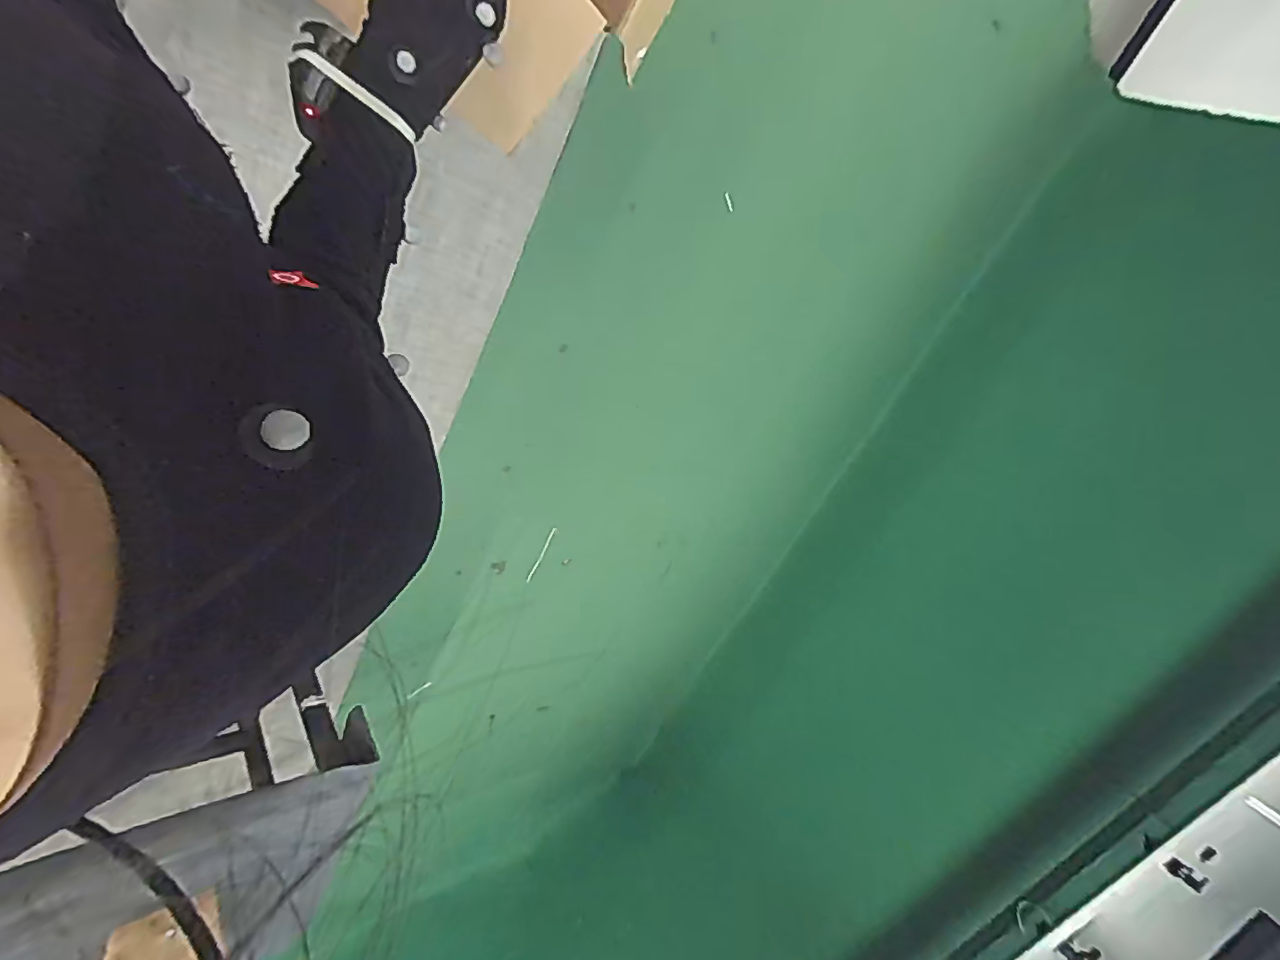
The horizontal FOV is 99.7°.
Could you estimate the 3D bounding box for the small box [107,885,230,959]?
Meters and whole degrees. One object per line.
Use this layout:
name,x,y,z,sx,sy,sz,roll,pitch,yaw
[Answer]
small box,-0.965,0.986,1.103,0.168,0.176,0.179,4,121,-49
